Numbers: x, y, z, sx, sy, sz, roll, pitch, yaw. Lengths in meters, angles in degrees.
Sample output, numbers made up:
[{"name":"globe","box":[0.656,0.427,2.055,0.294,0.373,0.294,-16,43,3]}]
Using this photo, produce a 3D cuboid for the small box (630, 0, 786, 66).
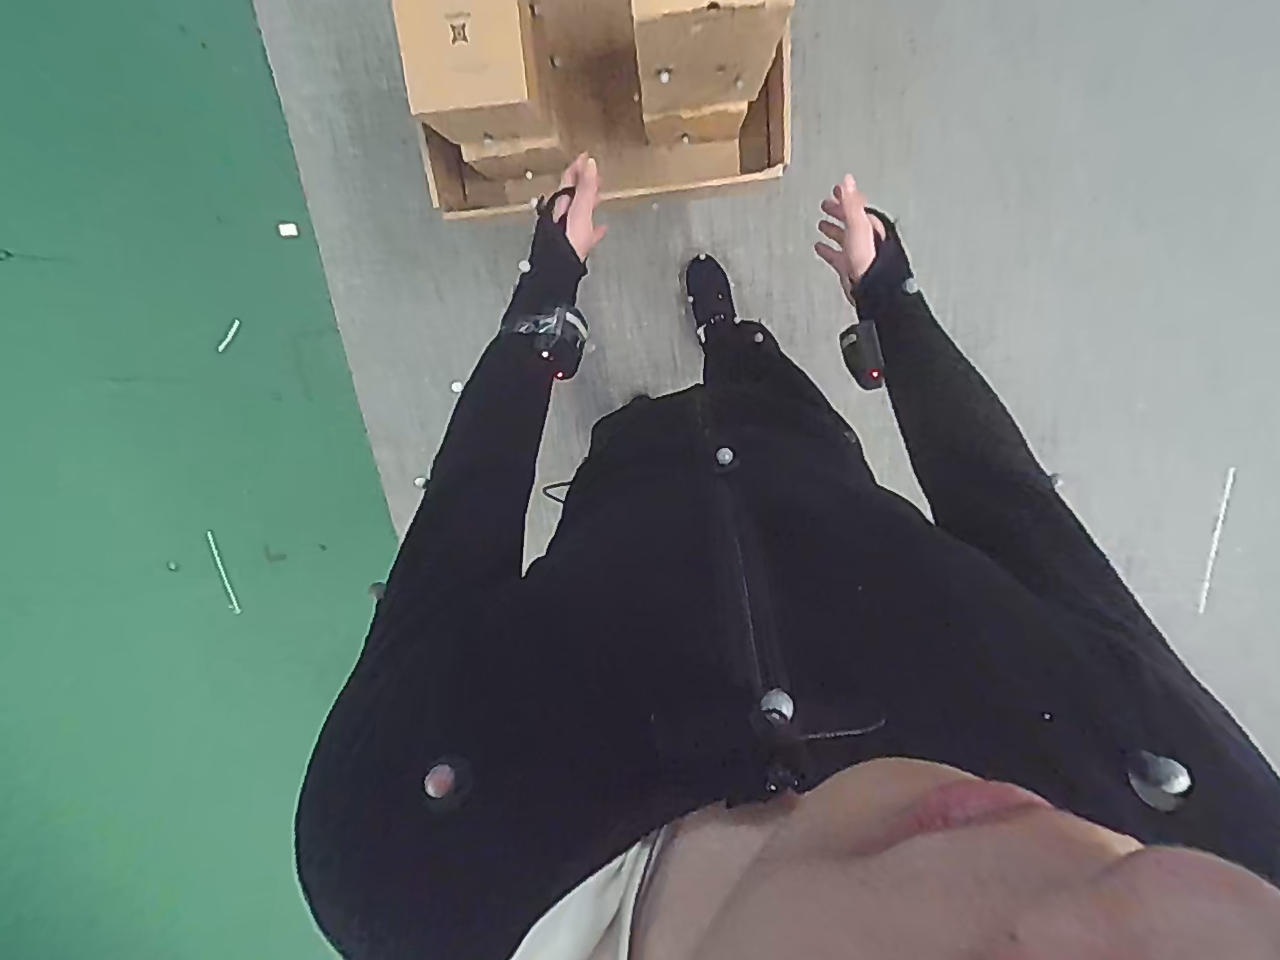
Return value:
[{"name":"small box","box":[0.072,-0.580,0.586,0.168,0.176,0.179,-3,108,3]}]

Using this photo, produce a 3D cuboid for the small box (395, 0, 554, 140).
[{"name":"small box","box":[-0.225,-0.611,0.768,0.168,0.176,0.179,-1,108,5]}]
